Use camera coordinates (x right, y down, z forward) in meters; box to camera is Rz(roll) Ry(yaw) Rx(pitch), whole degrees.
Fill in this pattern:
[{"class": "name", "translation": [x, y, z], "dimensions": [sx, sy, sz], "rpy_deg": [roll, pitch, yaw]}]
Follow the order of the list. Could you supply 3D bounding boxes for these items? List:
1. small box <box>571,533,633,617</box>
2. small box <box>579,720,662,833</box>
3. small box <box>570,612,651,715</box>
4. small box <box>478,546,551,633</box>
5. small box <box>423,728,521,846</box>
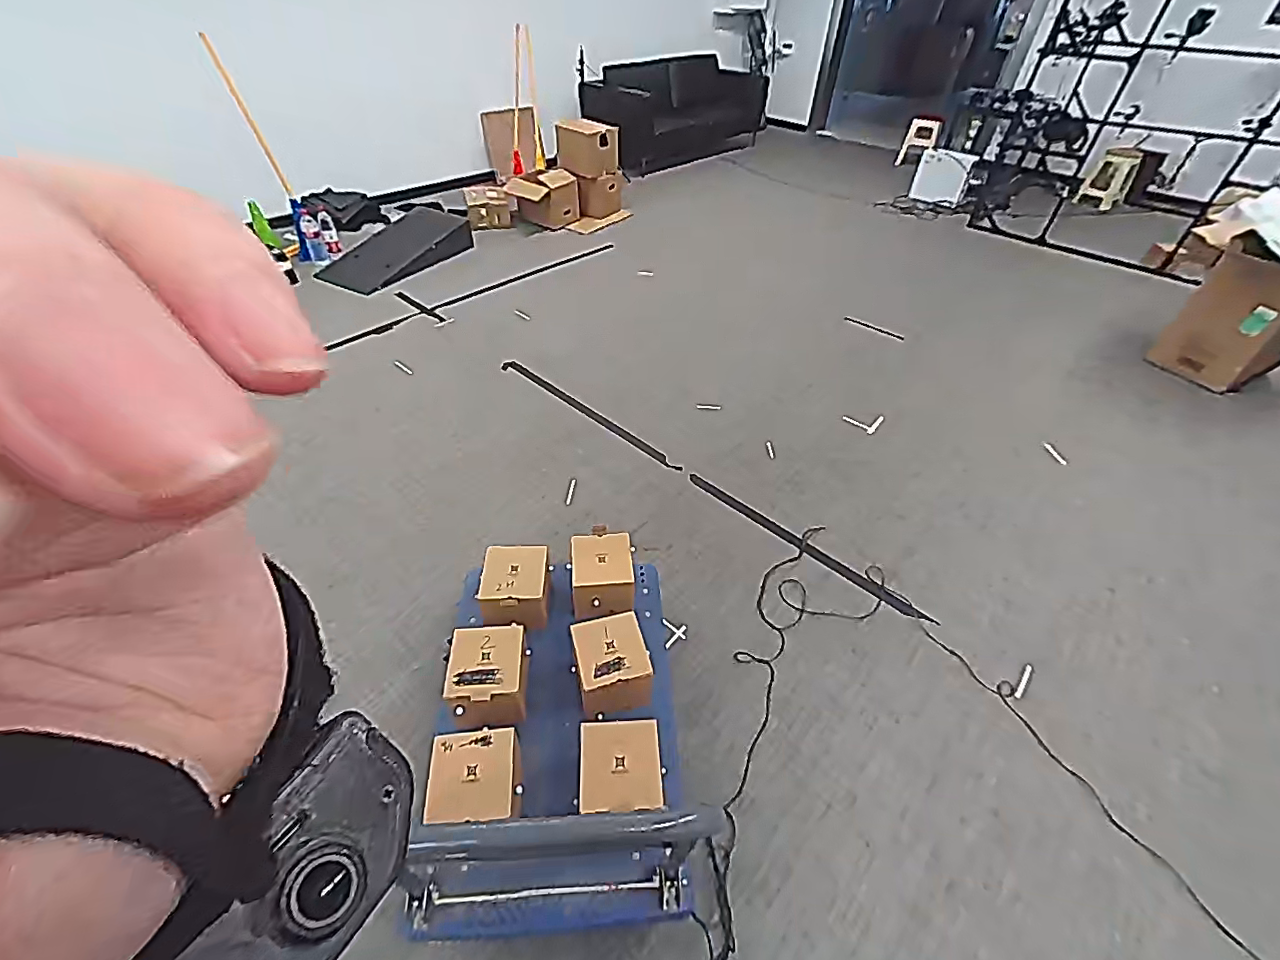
[{"class": "small box", "translation": [-0.110, 0.276, 1.542], "dimensions": [0.168, 0.176, 0.179], "rpy_deg": [-3, 44, -7]}, {"class": "small box", "translation": [-0.044, 0.640, 1.162], "dimensions": [0.168, 0.176, 0.179], "rpy_deg": [0, 43, -5]}, {"class": "small box", "translation": [-0.074, 0.462, 1.346], "dimensions": [0.168, 0.176, 0.179], "rpy_deg": [-10, 43, -14]}, {"class": "small box", "translation": [-0.339, 0.303, 1.495], "dimensions": [0.168, 0.176, 0.179], "rpy_deg": [0, 44, -3]}, {"class": "small box", "translation": [-0.341, 0.647, 1.133], "dimensions": [0.168, 0.176, 0.179], "rpy_deg": [-2, 44, -8]}]
